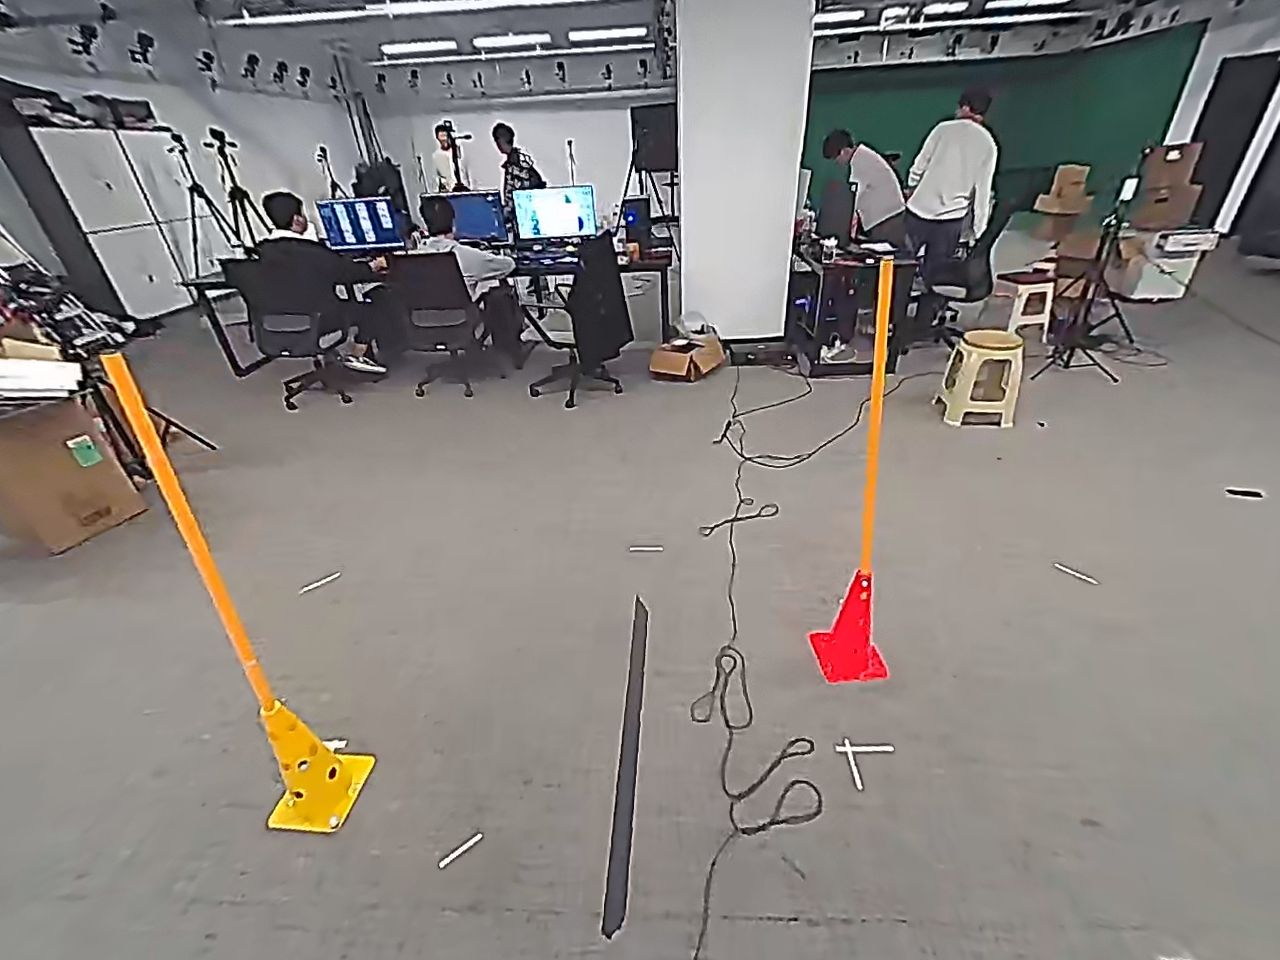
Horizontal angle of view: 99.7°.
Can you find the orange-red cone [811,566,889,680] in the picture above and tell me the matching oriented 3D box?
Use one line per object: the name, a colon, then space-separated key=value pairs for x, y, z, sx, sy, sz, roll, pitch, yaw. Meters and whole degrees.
orange-red cone: x=0.654 y=0.411 z=1.641 sx=0.199 sy=0.360 sz=0.198 roll=-5 pitch=31 yaw=1
